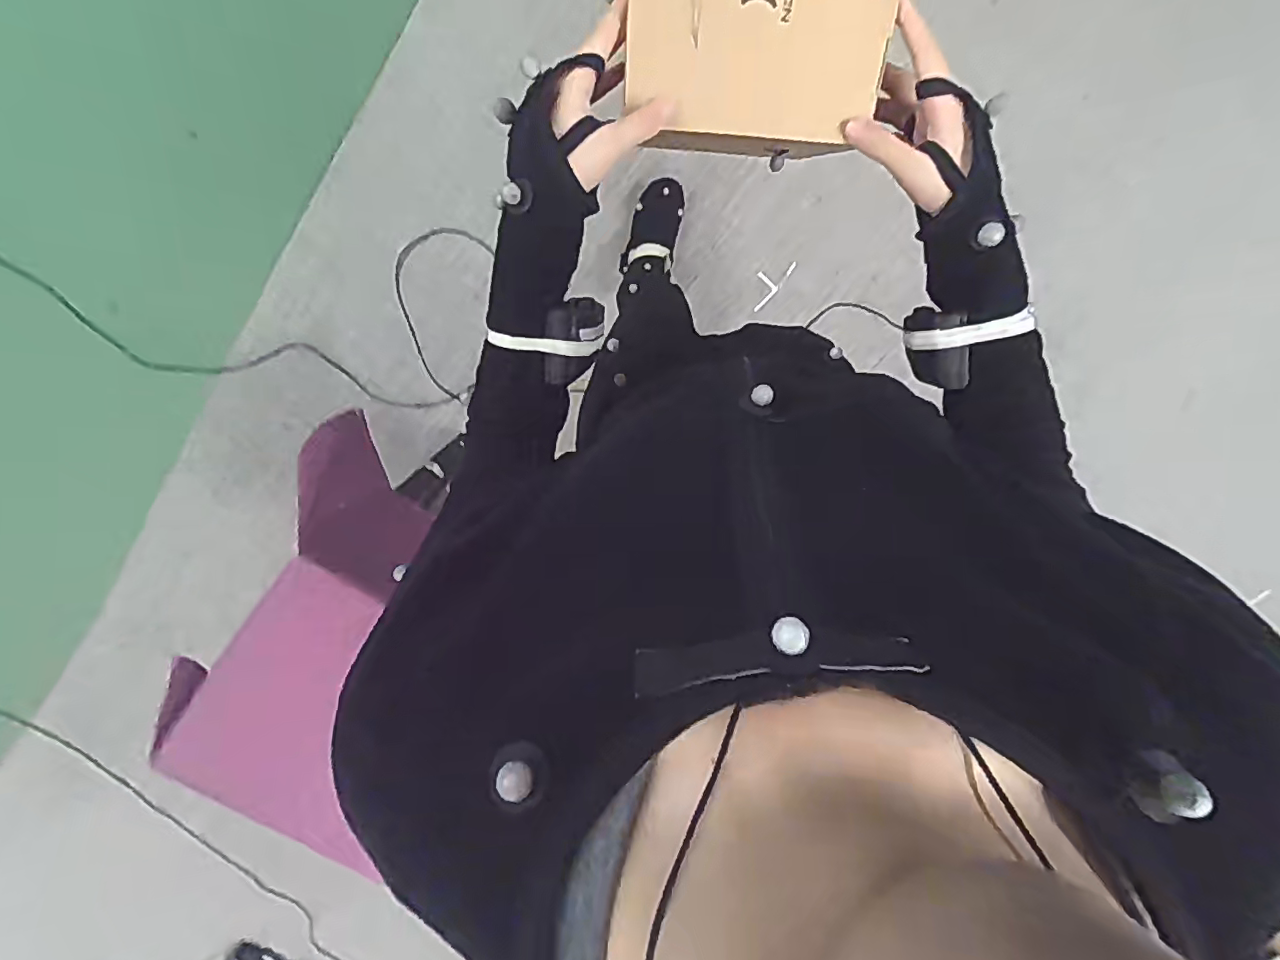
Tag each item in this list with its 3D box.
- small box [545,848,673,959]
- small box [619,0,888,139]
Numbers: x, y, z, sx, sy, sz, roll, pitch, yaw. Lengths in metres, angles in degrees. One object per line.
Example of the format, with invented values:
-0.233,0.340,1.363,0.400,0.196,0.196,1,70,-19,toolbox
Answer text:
-0.049,0.834,1.002,0.168,0.176,0.179,-36,105,14,small box
0.076,-0.369,0.413,0.179,0.176,0.168,3,117,-3,small box
